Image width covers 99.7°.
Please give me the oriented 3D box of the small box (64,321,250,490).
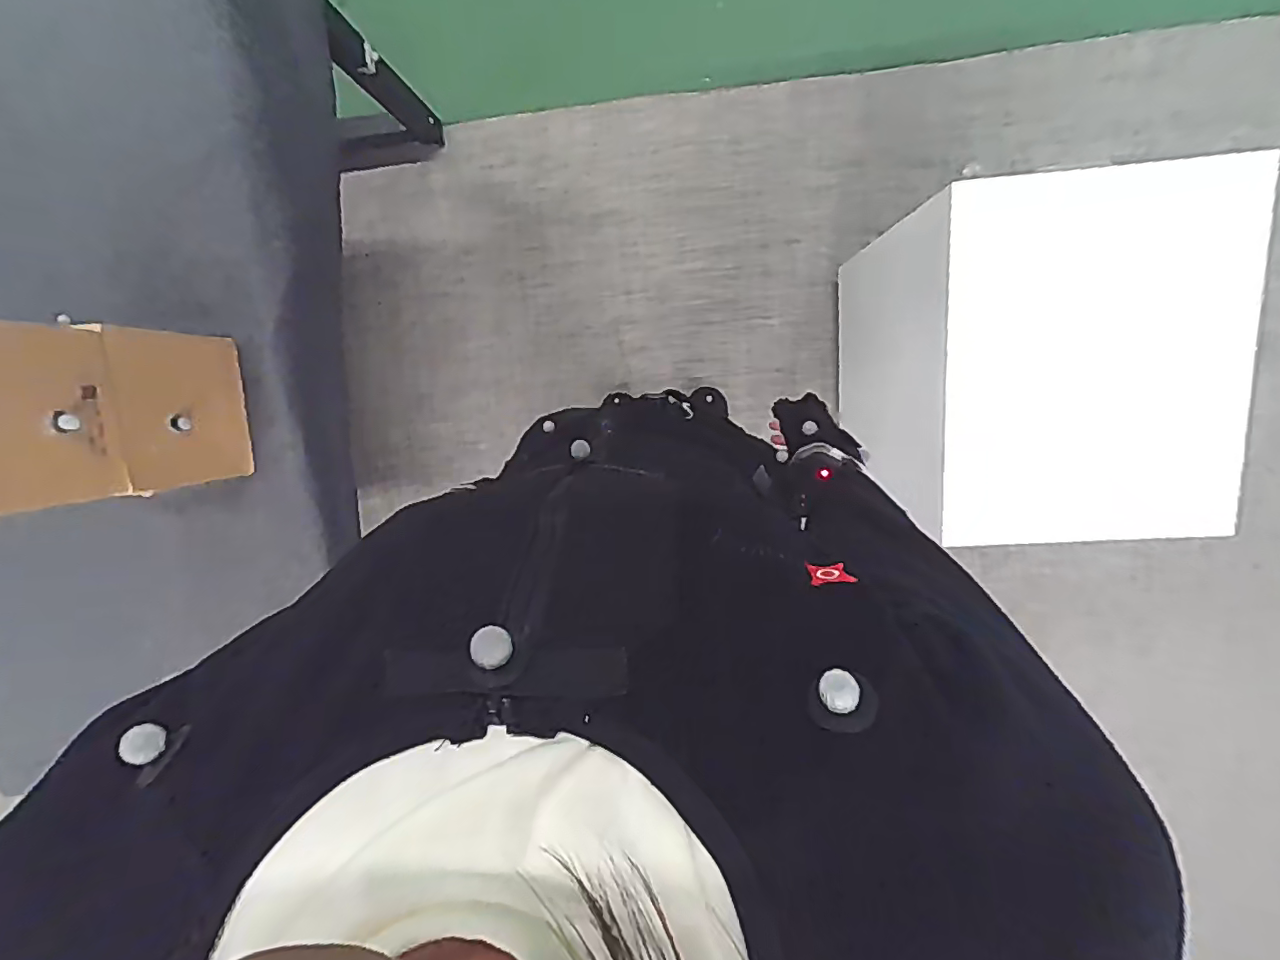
[{"bbox_3d":[-0.607,-0.090,0.642,0.168,0.176,0.179,-1,101,6],"label":"small box"}]
